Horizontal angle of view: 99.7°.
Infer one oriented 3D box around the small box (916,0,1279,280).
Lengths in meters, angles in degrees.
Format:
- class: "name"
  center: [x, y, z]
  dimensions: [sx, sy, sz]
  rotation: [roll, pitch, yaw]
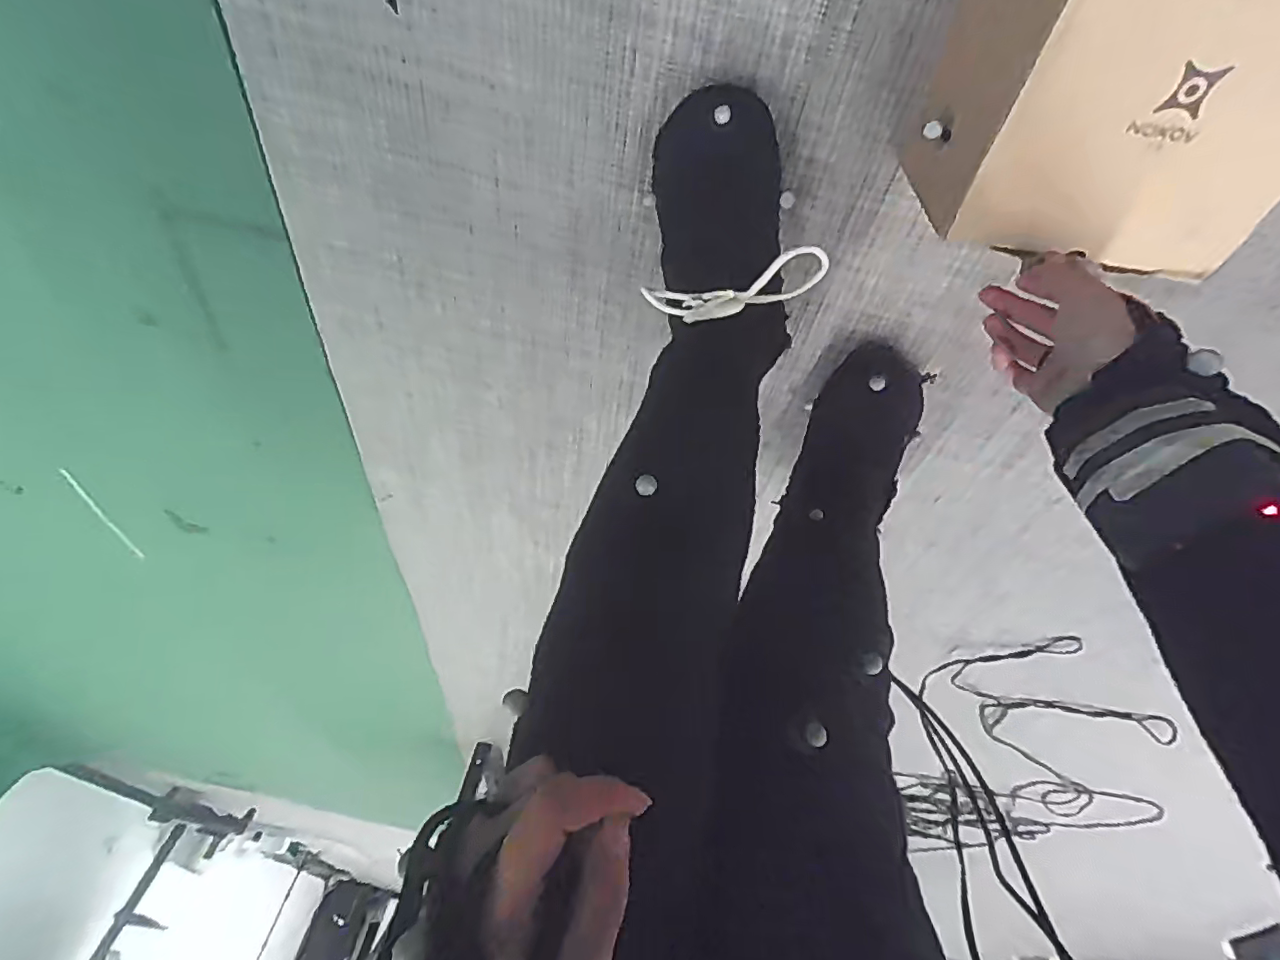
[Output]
- class: "small box"
  center: [0.292, -0.253, 0.328]
  dimensions: [0.168, 0.176, 0.179]
  rotation: [10, 137, 2]
